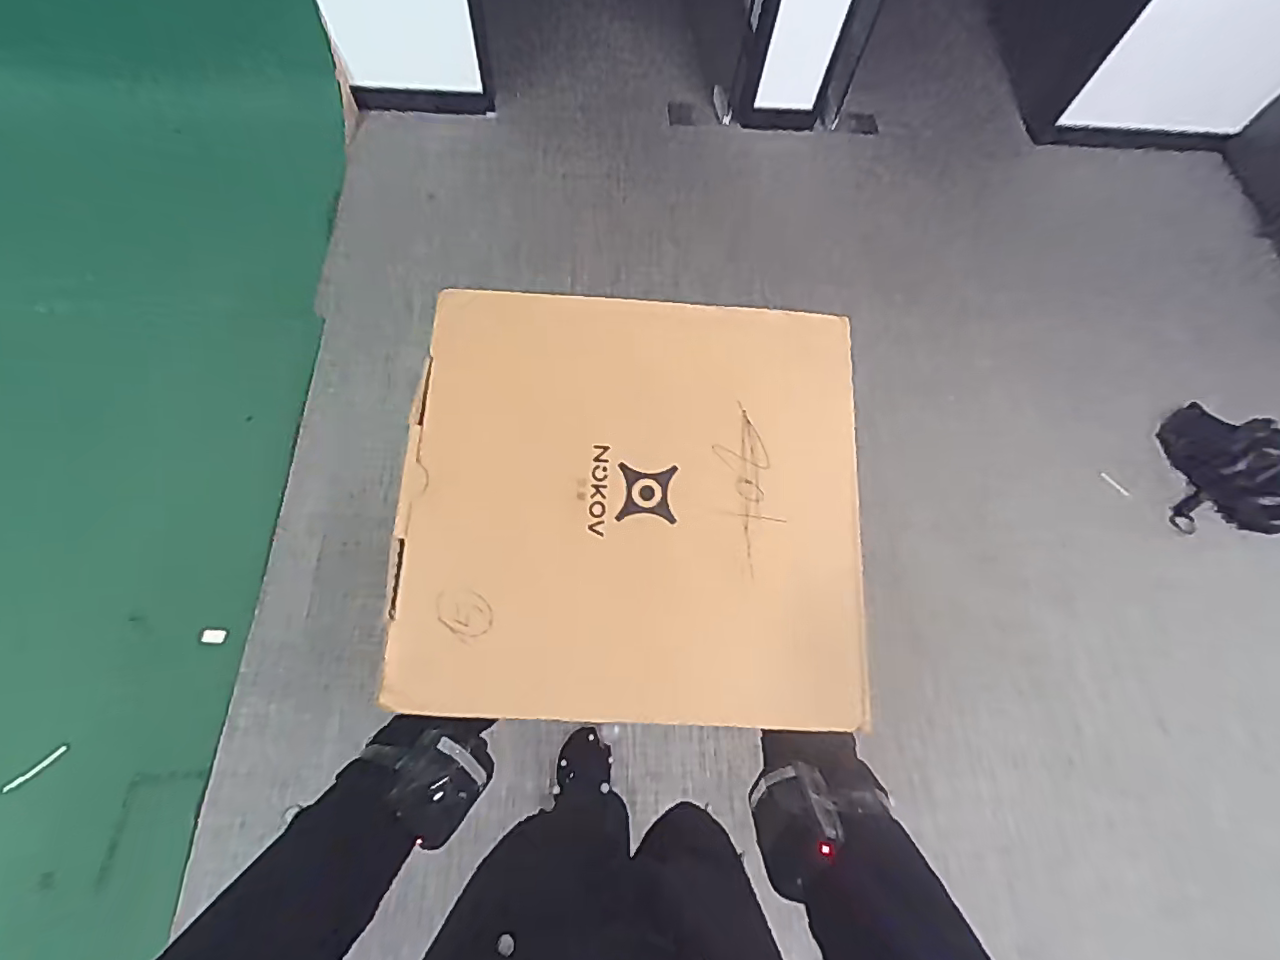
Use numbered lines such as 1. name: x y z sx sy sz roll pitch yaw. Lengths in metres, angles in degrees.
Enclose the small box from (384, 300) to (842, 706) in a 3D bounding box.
1. small box: -0.010 0.023 0.300 0.179 0.176 0.168 3 76 -3
